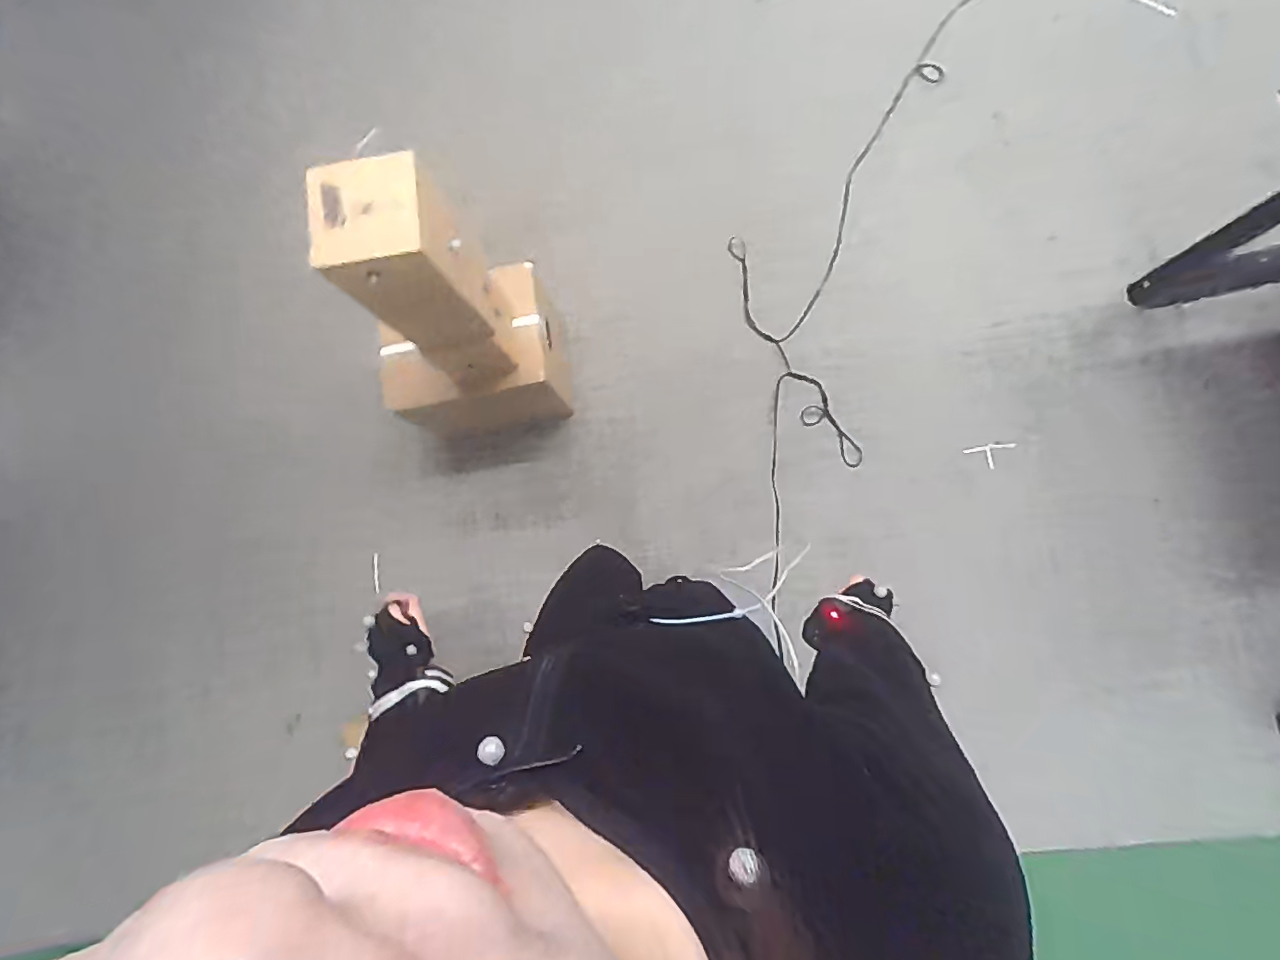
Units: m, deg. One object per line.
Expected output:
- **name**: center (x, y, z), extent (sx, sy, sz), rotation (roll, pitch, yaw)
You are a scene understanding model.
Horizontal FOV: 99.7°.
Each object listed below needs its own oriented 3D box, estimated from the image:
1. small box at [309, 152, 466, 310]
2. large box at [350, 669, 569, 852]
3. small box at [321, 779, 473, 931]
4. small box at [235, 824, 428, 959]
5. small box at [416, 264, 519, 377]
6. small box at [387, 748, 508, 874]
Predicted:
- **small box**: center (-0.409, -0.399, 0.896), extent (0.179, 0.176, 0.168), rotation (-8, 83, 3)
- **large box**: center (-0.426, 0.688, 1.343), extent (0.408, 0.320, 0.320), rotation (-10, 82, 6)
- **small box**: center (-0.406, 0.646, 0.933), extent (0.179, 0.176, 0.168), rotation (-15, 81, 5)
- **small box**: center (-0.423, 0.624, 0.770), extent (0.179, 0.176, 0.168), rotation (-13, 82, 5)
- **small box**: center (-0.387, -0.353, 1.222), extent (0.168, 0.176, 0.179), rotation (-11, 83, 4)
- **small box**: center (-0.381, 0.663, 1.093), extent (0.168, 0.176, 0.179), rotation (-11, 84, 5)
